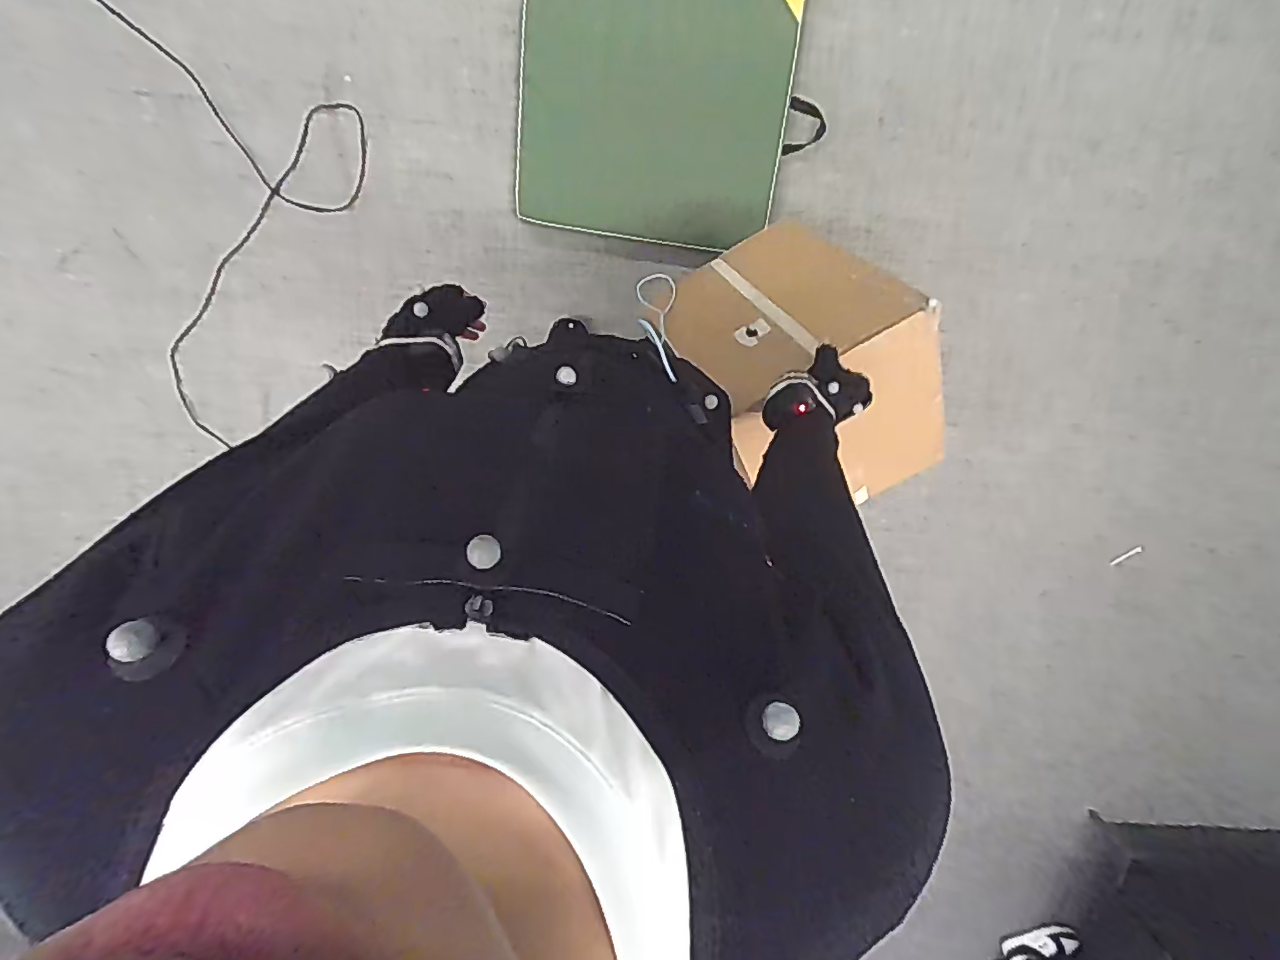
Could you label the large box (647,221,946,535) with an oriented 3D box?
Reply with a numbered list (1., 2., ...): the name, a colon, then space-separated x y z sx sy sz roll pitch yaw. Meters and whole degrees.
1. large box: 0.261 -0.186 0.947 0.320 0.408 0.320 -31 132 5
